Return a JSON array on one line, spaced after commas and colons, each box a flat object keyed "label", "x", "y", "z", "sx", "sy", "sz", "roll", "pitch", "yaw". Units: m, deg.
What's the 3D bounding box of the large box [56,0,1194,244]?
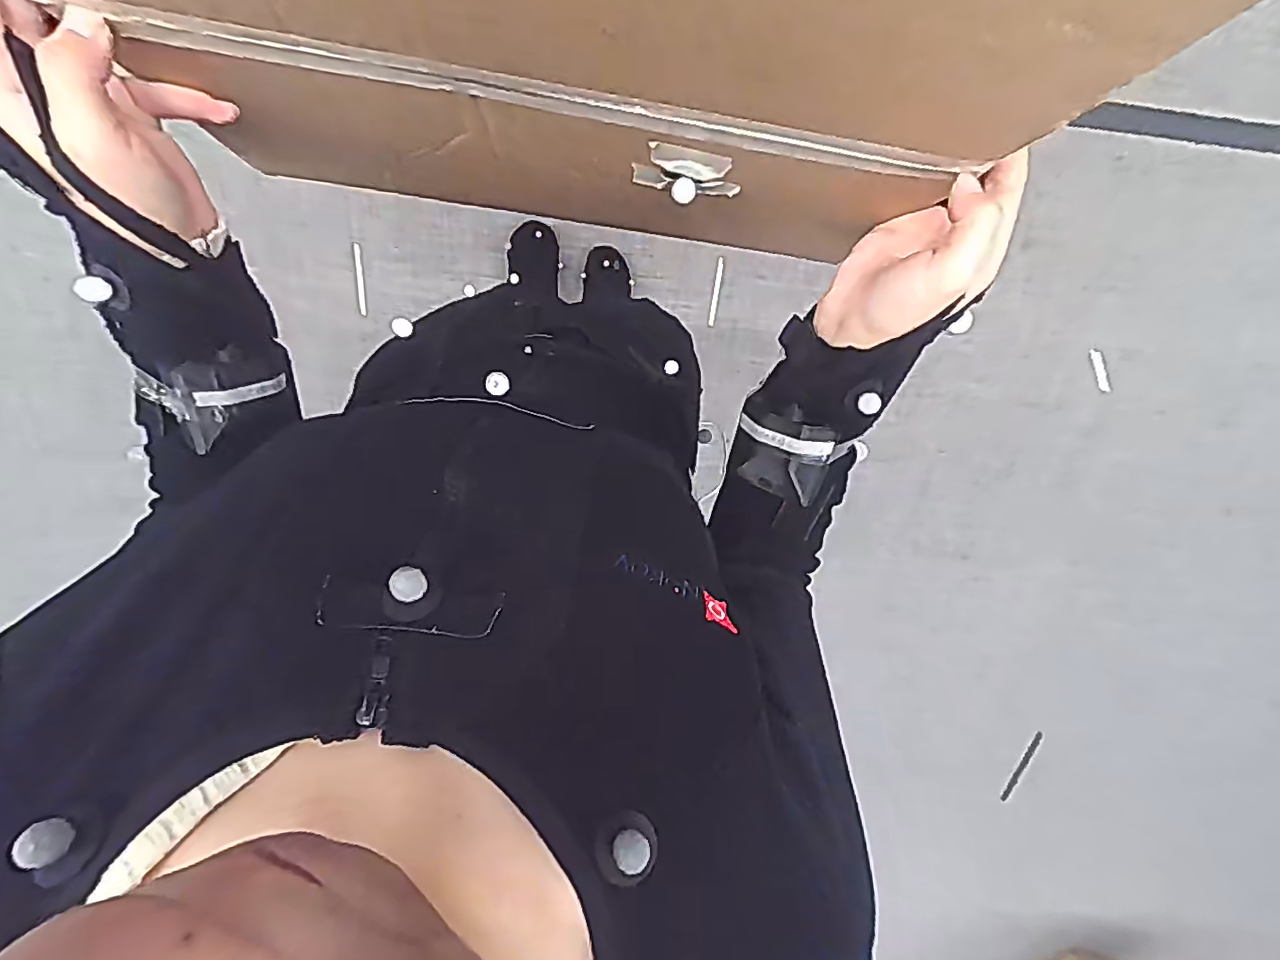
[{"label": "large box", "x": -0.024, "y": -0.324, "z": 0.220, "sx": 0.408, "sy": 0.320, "sz": 0.320, "roll": 5, "pitch": 98, "yaw": -6}]
